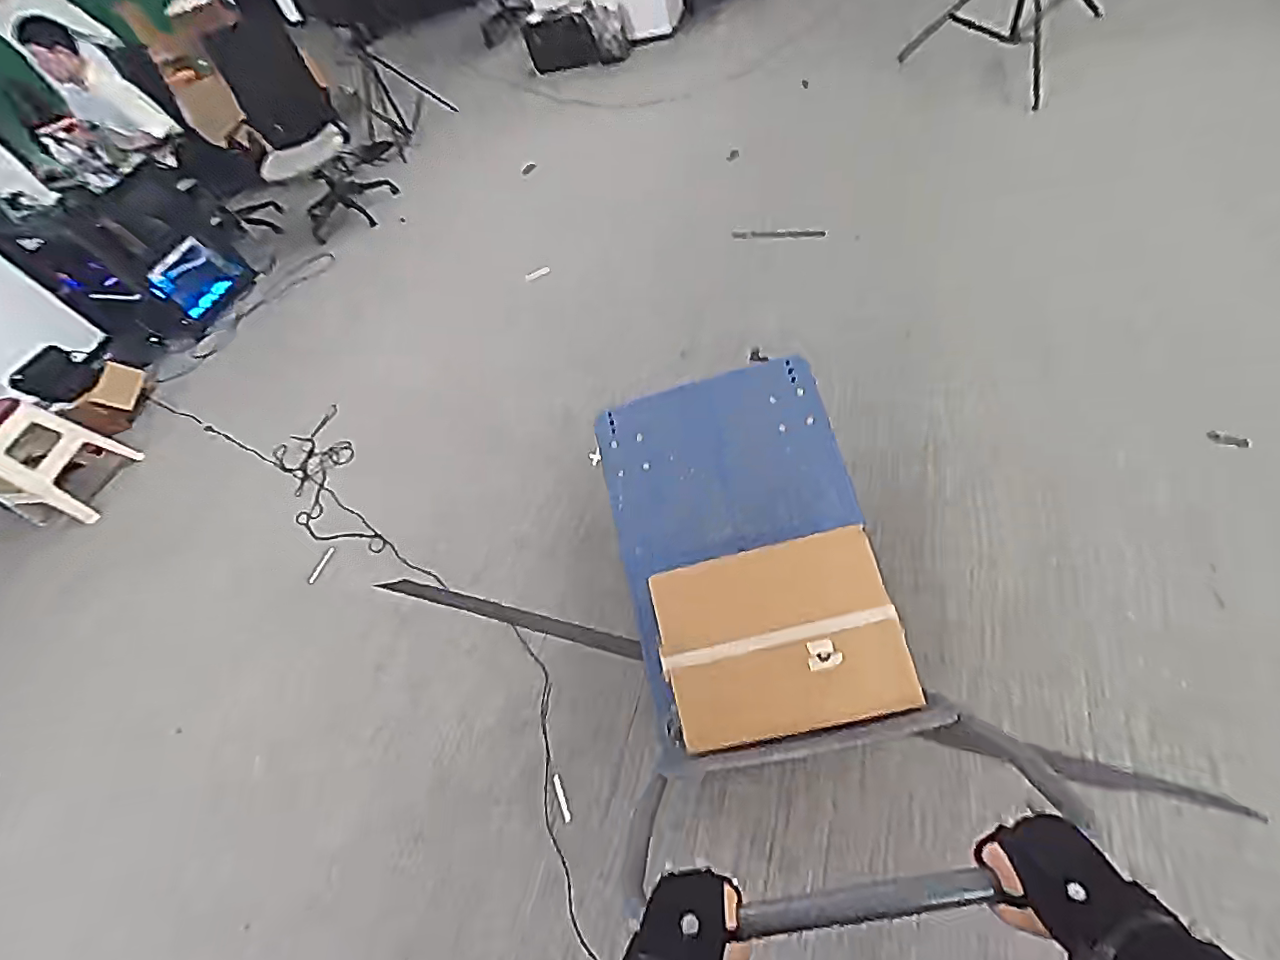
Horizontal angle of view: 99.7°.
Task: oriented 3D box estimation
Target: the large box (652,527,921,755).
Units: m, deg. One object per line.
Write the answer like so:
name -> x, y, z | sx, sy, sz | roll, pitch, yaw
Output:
large box -> 0.271, 0.322, 1.105 | 0.408, 0.320, 0.320 | -16, 73, 6
